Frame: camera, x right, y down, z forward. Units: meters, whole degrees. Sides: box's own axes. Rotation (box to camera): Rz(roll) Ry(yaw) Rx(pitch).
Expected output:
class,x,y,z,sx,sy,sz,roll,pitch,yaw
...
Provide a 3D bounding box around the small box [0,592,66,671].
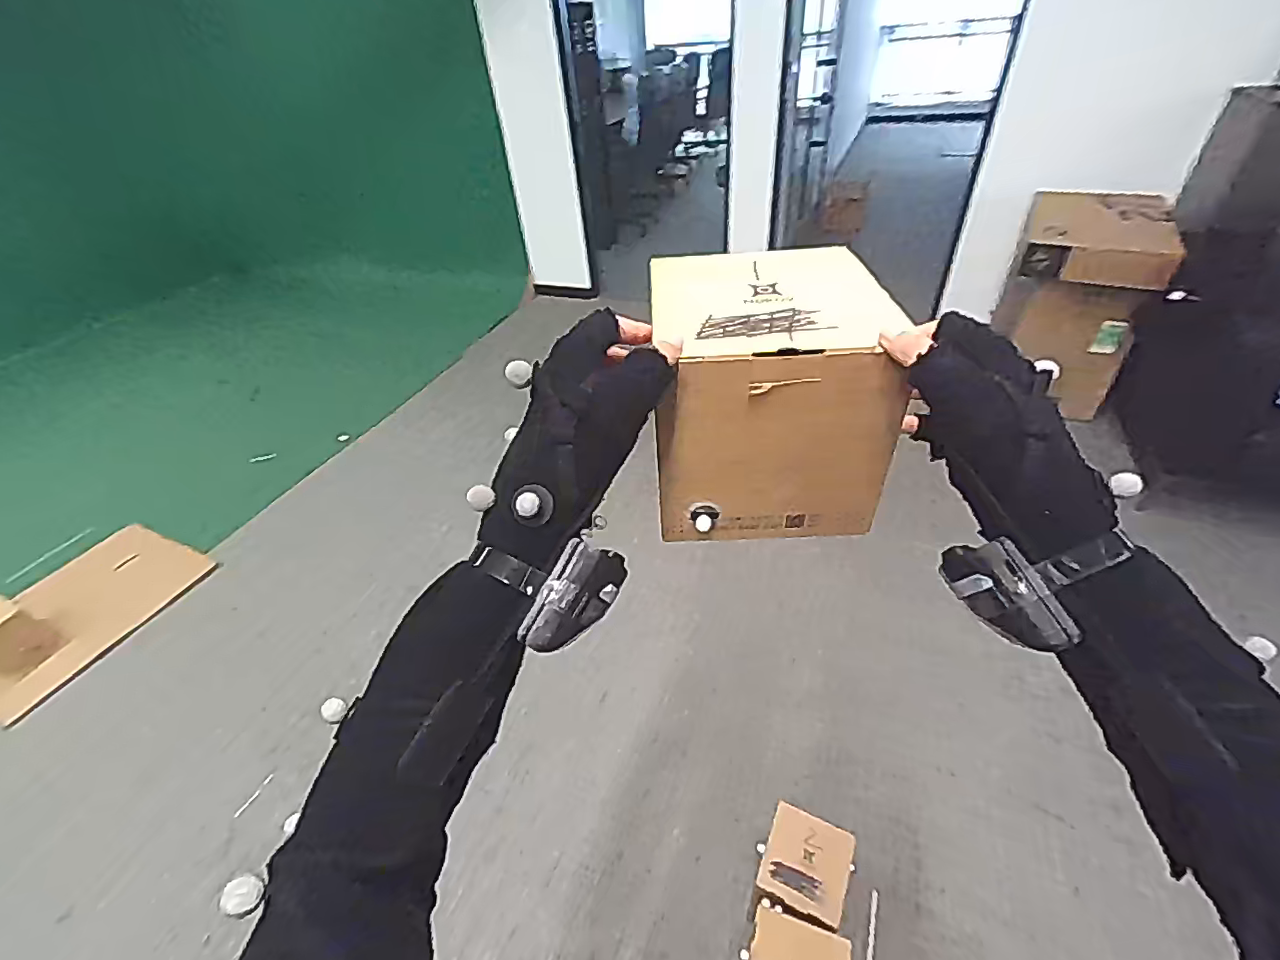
class,x,y,z,sx,sy,sz,roll,pitch,yaw
small box,-2.104,0.507,1.801,0.179,0.176,0.168,14,46,21

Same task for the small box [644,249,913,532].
class,x,y,z,sx,sy,sz,roll,pitch,yaw
small box,0.091,-0.069,0.442,0.168,0.176,0.179,-3,41,3
